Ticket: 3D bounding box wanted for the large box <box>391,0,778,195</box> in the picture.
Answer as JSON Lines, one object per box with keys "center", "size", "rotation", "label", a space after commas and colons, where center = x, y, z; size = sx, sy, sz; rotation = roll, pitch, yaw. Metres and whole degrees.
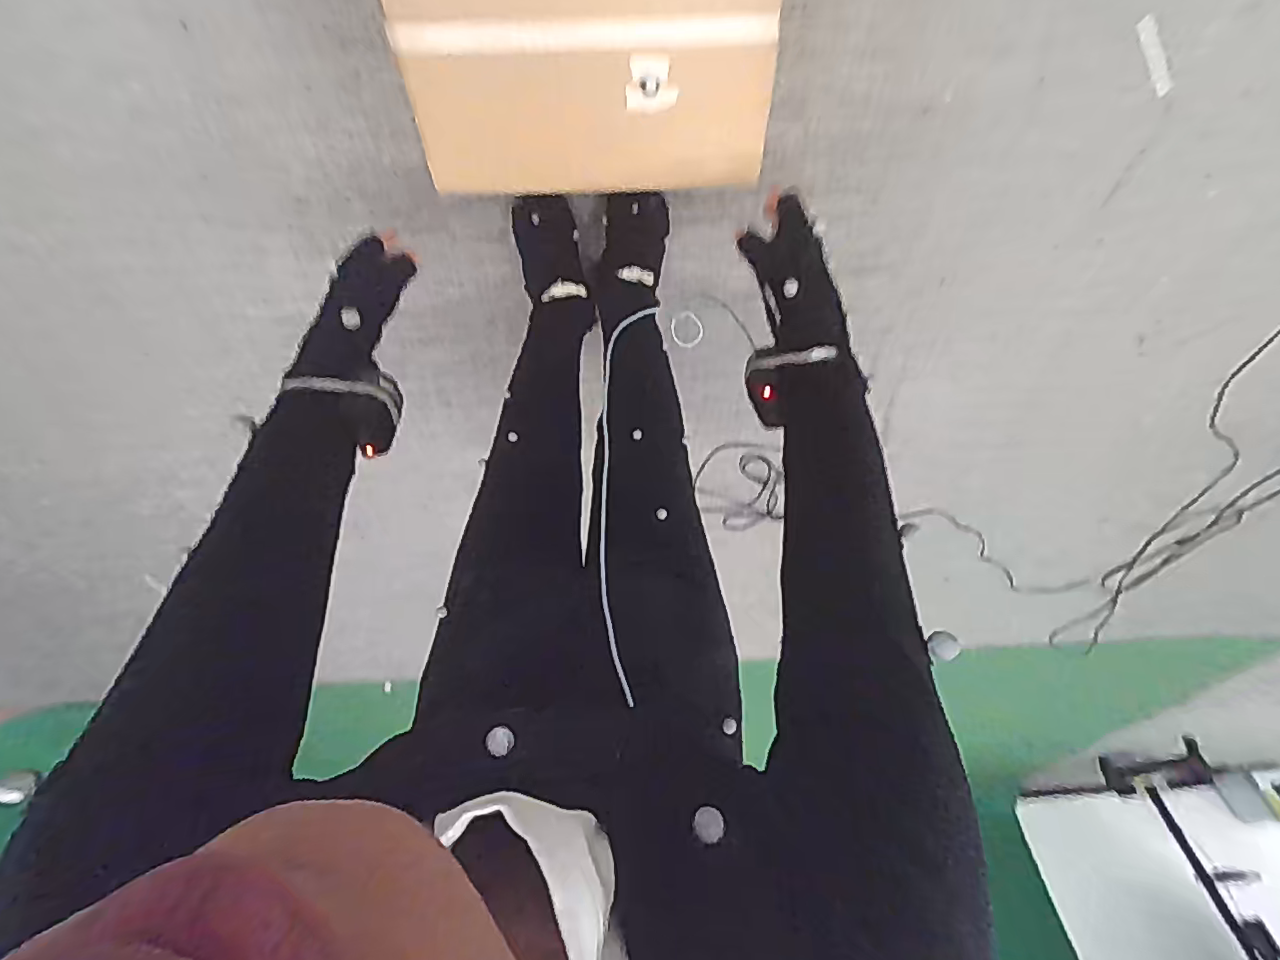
{"center": [-0.062, -0.583, 0.675], "size": [0.408, 0.320, 0.320], "rotation": [-3, 138, -1], "label": "large box"}
